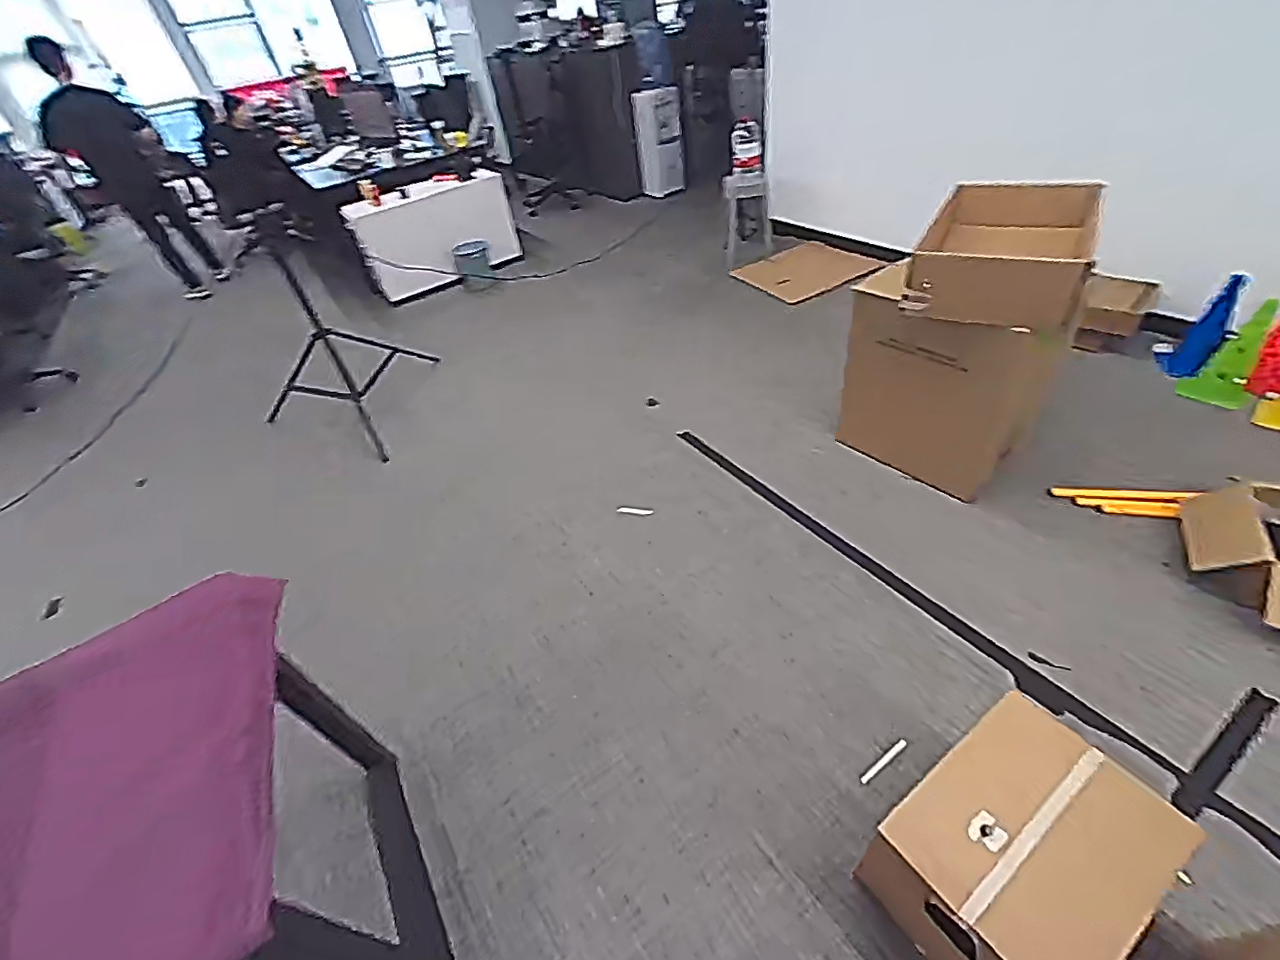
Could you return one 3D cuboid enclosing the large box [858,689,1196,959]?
[{"bbox_3d":[0.671,0.684,0.993,0.408,0.320,0.320,-31,45,-20],"label":"large box"}]
